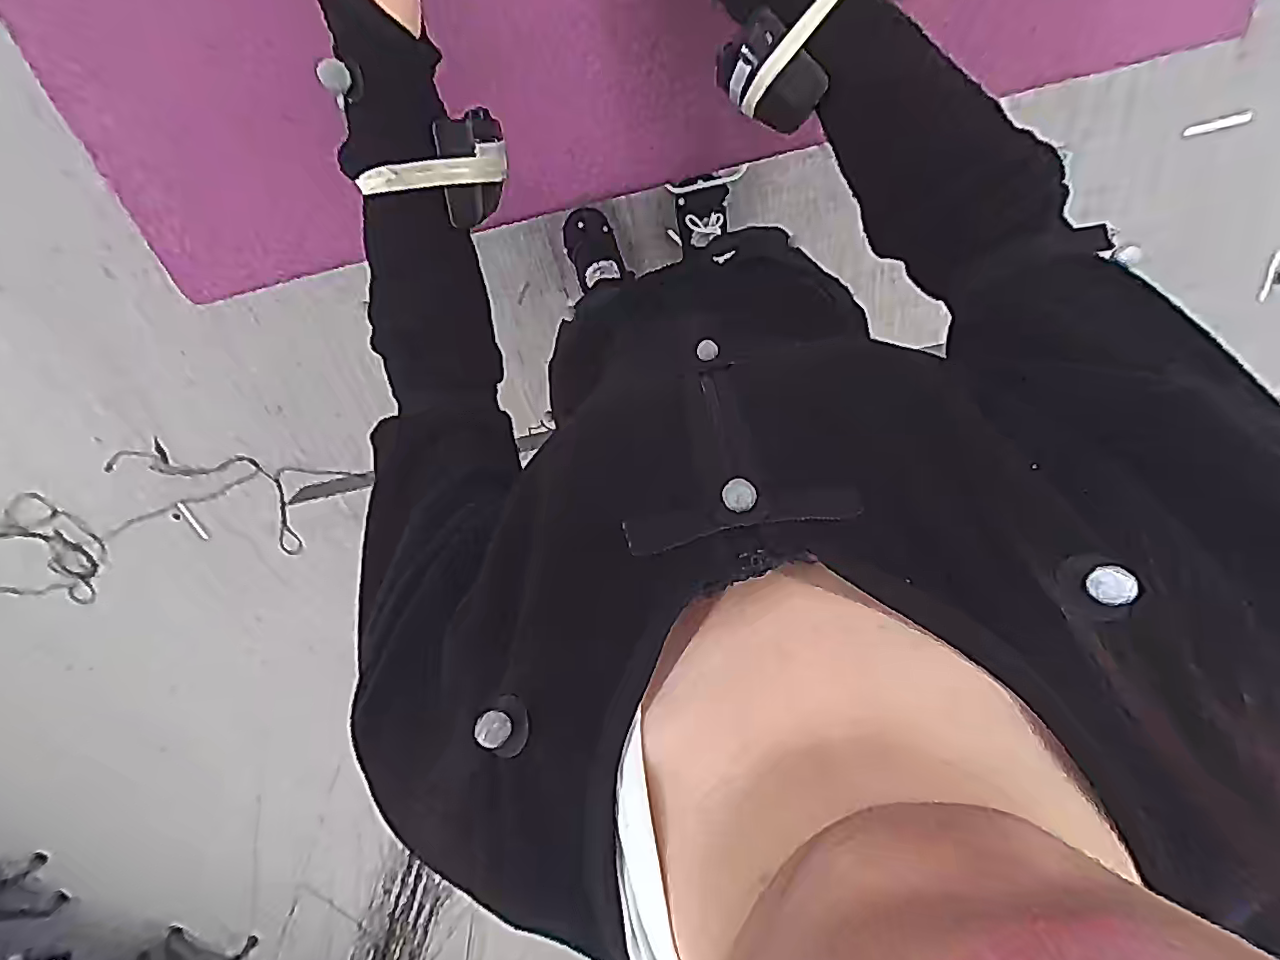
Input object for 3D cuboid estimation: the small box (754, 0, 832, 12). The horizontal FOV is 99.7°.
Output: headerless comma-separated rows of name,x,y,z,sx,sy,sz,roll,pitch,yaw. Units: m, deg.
small box,0.178,-0.512,0.426,0.168,0.176,0.179,-9,120,1
